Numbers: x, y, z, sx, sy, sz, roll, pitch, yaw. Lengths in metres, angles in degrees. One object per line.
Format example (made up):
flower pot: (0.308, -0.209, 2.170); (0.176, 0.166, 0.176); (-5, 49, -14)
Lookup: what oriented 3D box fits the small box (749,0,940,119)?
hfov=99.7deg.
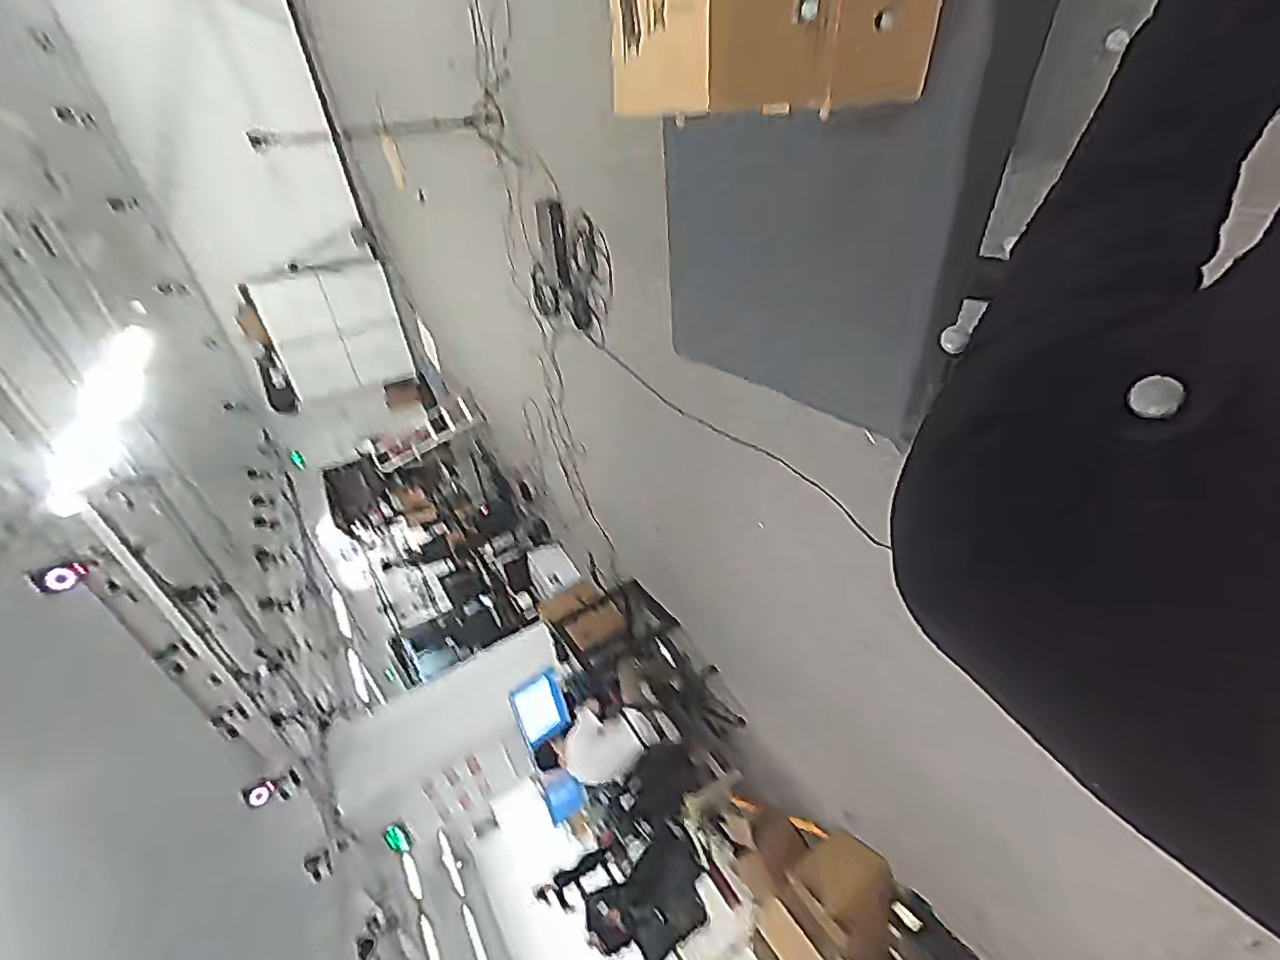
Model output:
small box: (0.228, -0.539, 0.635); (0.168, 0.176, 0.179); (42, 146, 44)

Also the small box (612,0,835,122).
small box: (0.083, -0.486, 0.576); (0.179, 0.176, 0.168); (40, 144, 49)
